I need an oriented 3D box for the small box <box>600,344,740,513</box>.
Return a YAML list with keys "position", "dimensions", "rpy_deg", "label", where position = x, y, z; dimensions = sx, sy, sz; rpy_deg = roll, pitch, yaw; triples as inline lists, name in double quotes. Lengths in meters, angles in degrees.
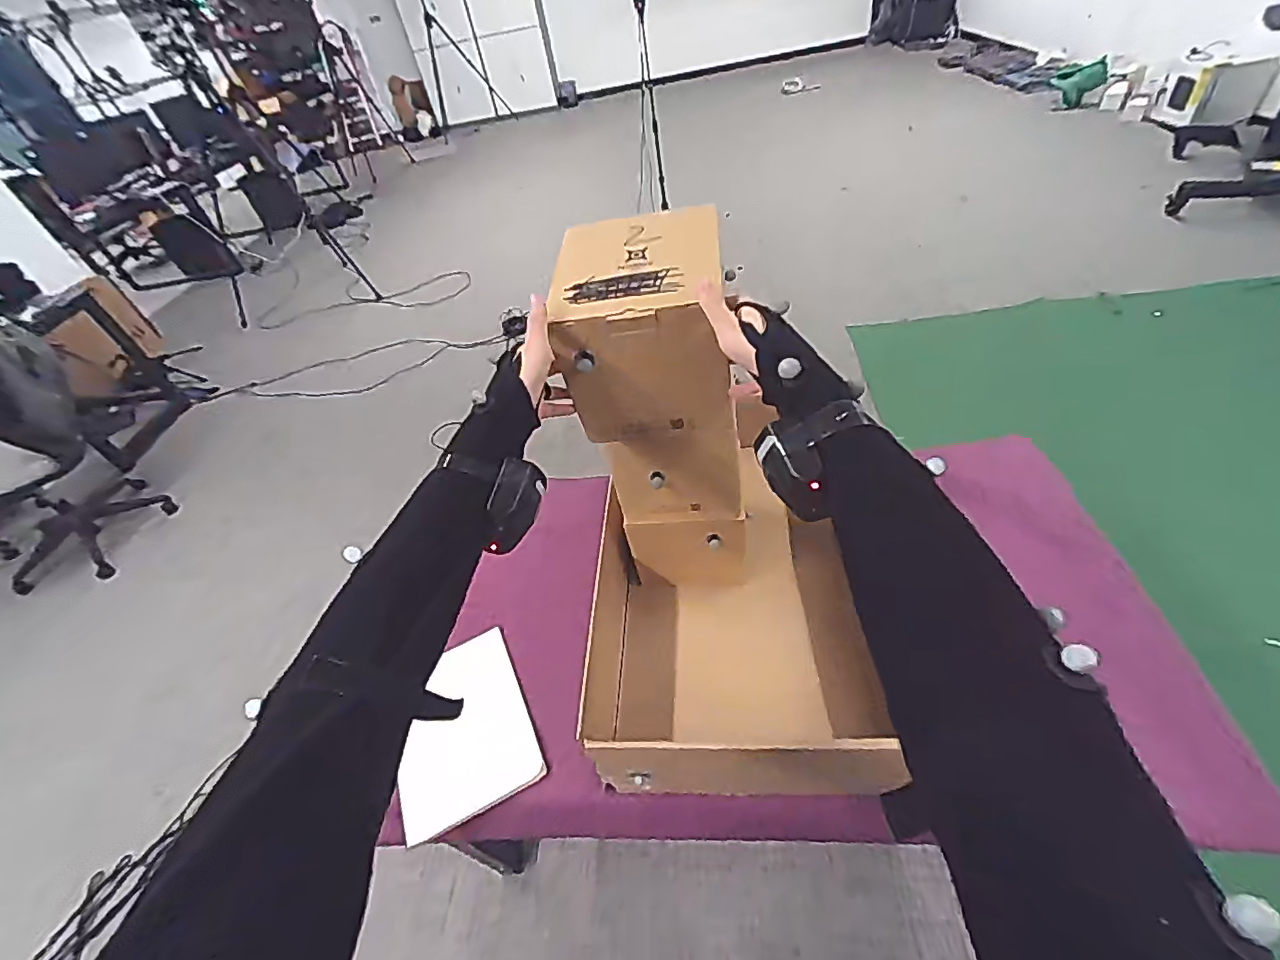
- position: [0.051, -0.064, 0.761]
  dimensions: [0.168, 0.176, 0.179]
  rpy_deg: [-4, 46, 10]
  label: "small box"
